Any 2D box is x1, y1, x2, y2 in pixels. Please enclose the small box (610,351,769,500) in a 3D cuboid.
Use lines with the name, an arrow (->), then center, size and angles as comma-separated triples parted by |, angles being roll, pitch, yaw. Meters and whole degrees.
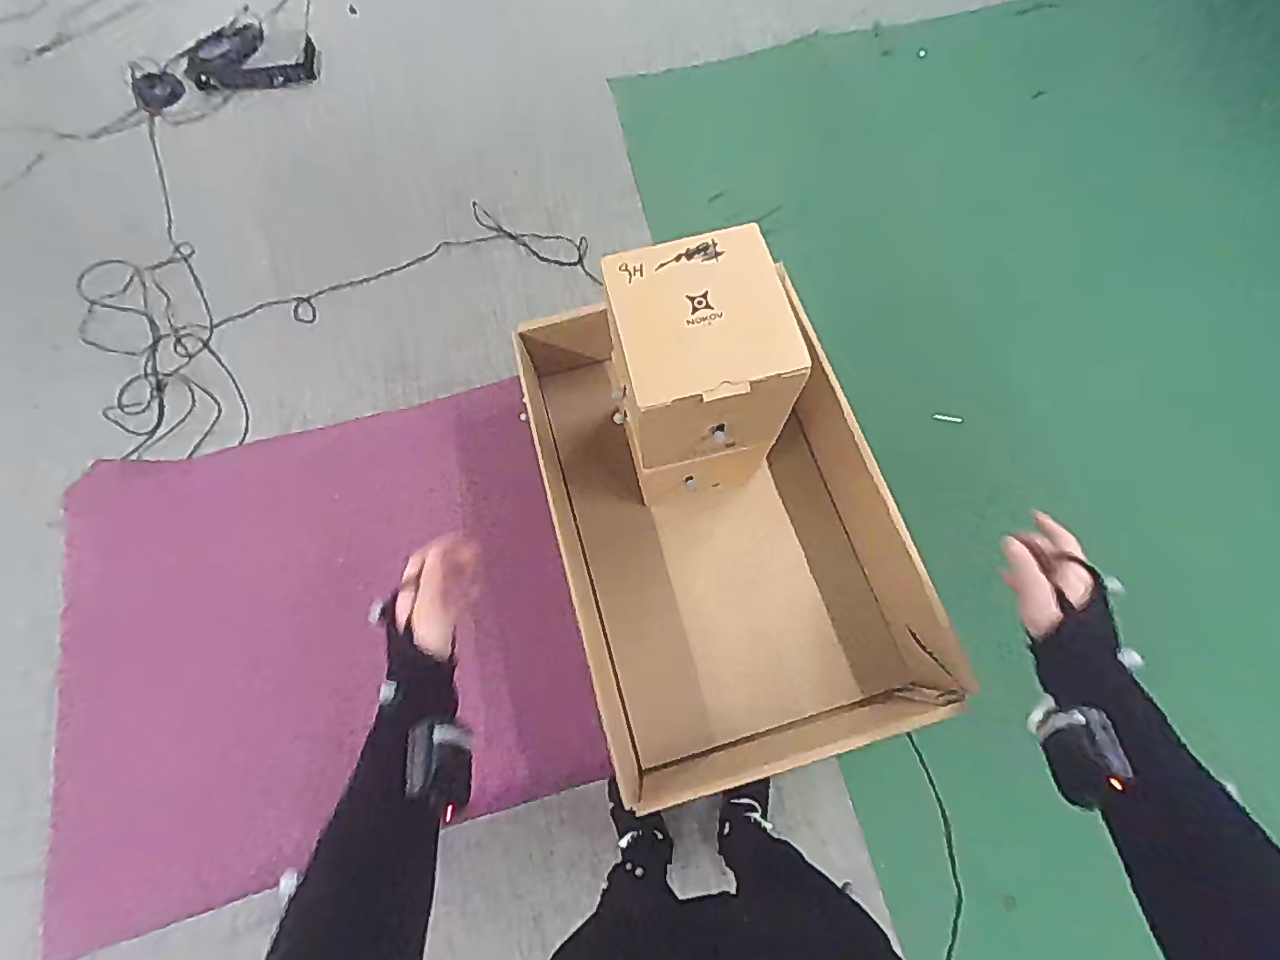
small box -> 0.064, -0.081, 0.747 | 0.168, 0.176, 0.179 | -14, 72, -1

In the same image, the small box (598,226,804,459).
small box -> 0.058, -0.134, 0.592 | 0.168, 0.176, 0.179 | -13, 73, -2
